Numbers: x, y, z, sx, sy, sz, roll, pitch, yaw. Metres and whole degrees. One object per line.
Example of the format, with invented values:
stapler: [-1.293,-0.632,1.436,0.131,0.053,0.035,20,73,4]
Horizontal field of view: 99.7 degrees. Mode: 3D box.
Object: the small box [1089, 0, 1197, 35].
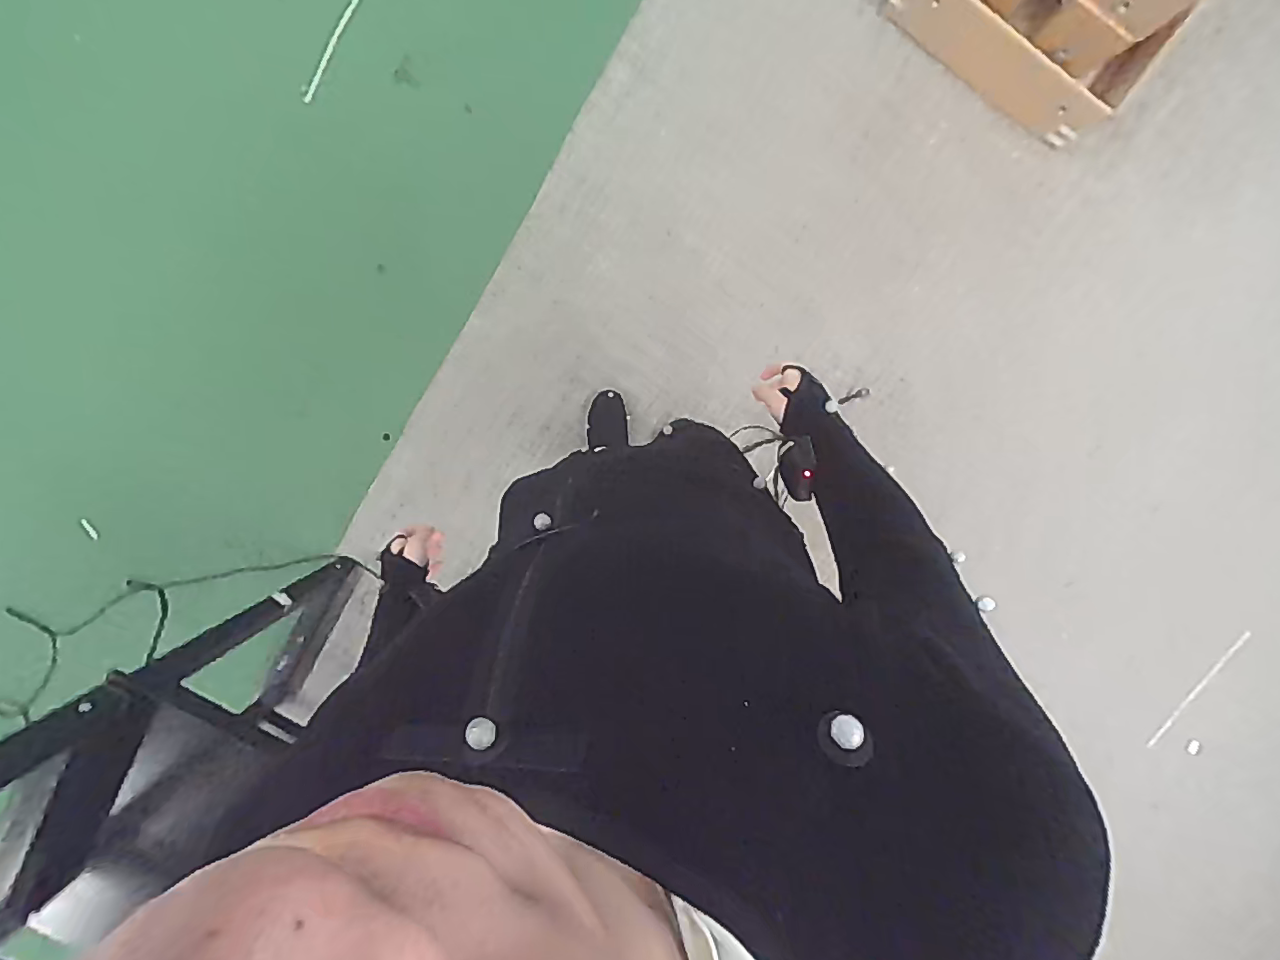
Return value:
small box: [1.093,-1.081,1.119,0.179,0.176,0.168,37,99,-5]
